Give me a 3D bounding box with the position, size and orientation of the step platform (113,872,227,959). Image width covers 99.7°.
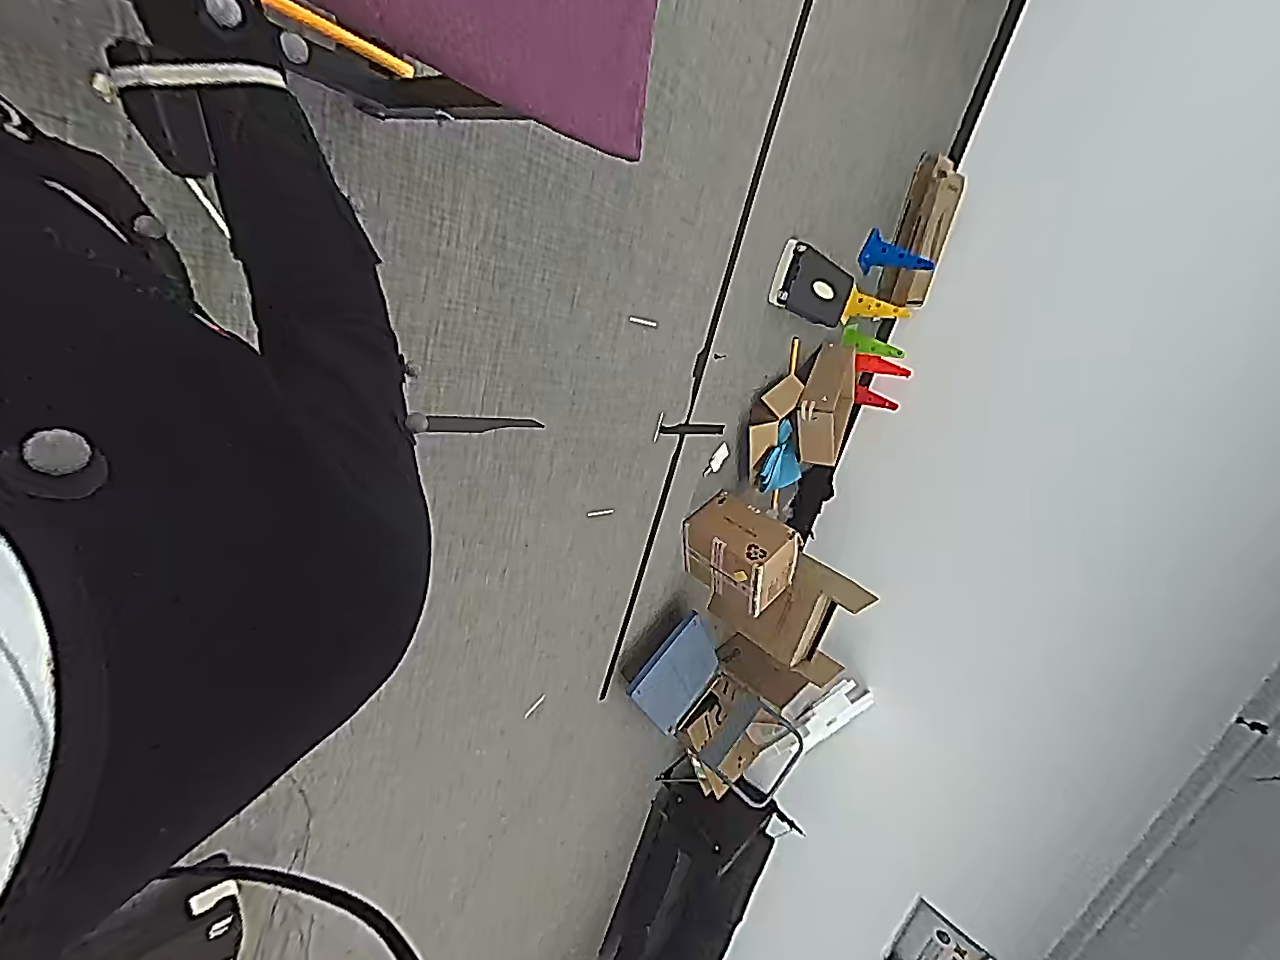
[{"bbox_3d":[-1.465,1.339,1.353,0.684,0.204,0.286,-8,120,-50],"label":"step platform"}]
